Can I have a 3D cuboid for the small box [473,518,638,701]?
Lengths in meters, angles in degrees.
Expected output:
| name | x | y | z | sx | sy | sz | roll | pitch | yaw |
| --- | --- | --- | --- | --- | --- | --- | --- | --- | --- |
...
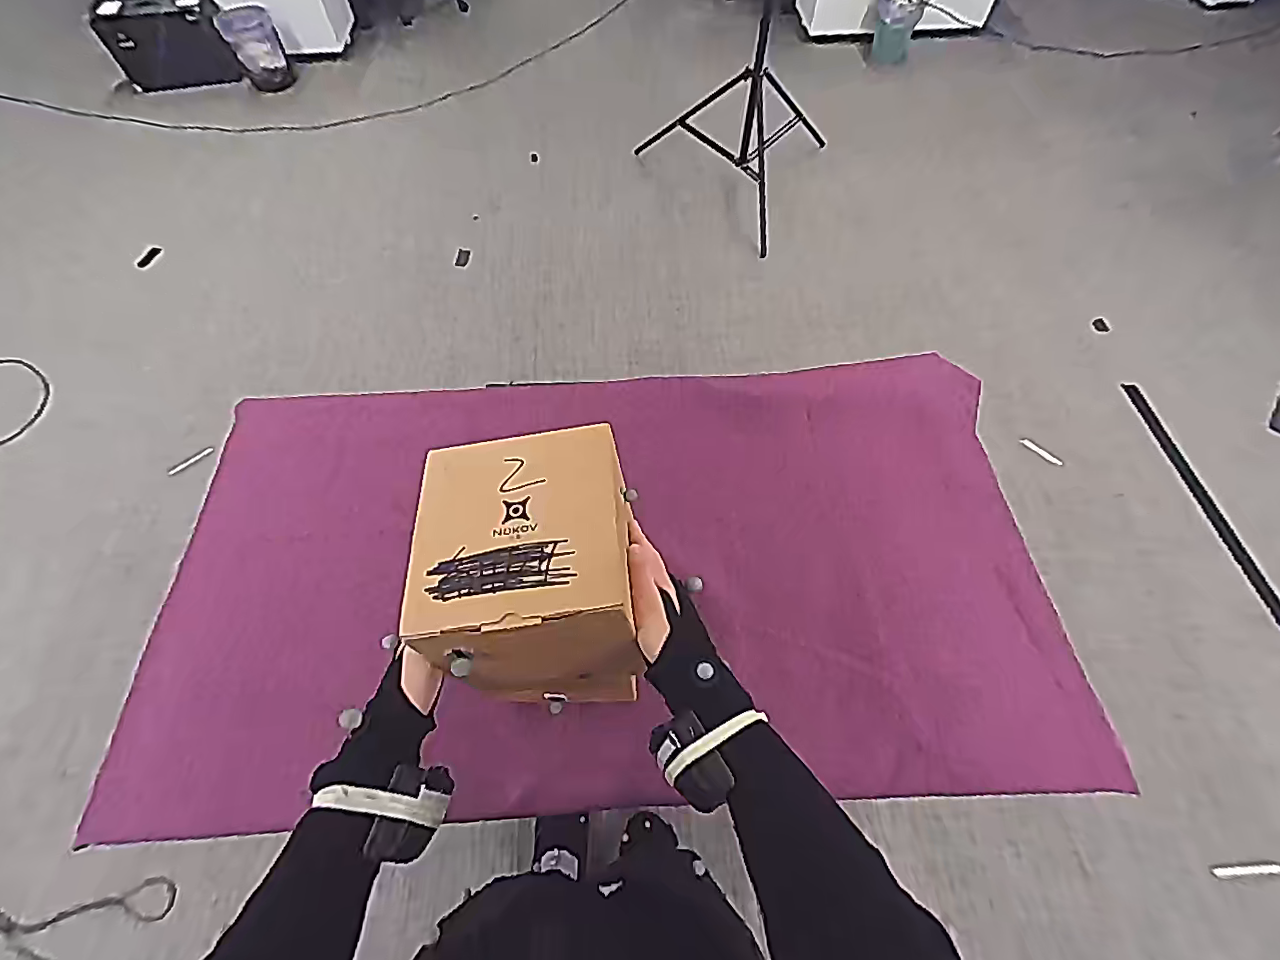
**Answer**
| name | x | y | z | sx | sy | sz | roll | pitch | yaw |
| --- | --- | --- | --- | --- | --- | --- | --- | --- | --- |
| small box | -0.087 | 0.161 | 0.654 | 0.168 | 0.176 | 0.179 | -1 | 60 | 1 |
